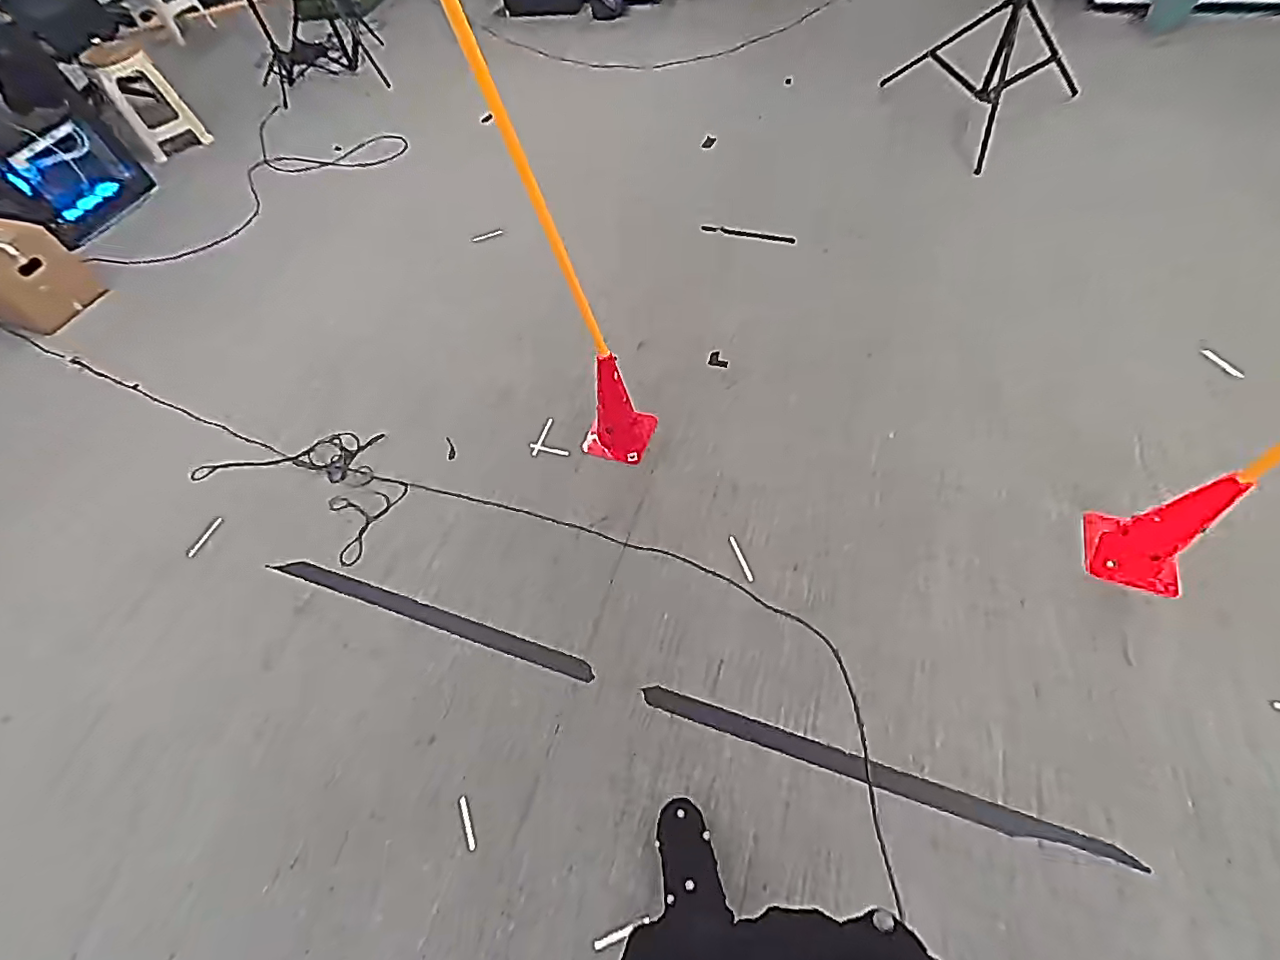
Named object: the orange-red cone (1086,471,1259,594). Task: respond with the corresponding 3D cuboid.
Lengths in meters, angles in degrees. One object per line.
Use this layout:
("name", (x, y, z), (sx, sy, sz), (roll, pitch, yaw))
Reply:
("orange-red cone", (1.241, 0.088, 1.236), (0.199, 0.360, 0.198), (17, 61, 15))
